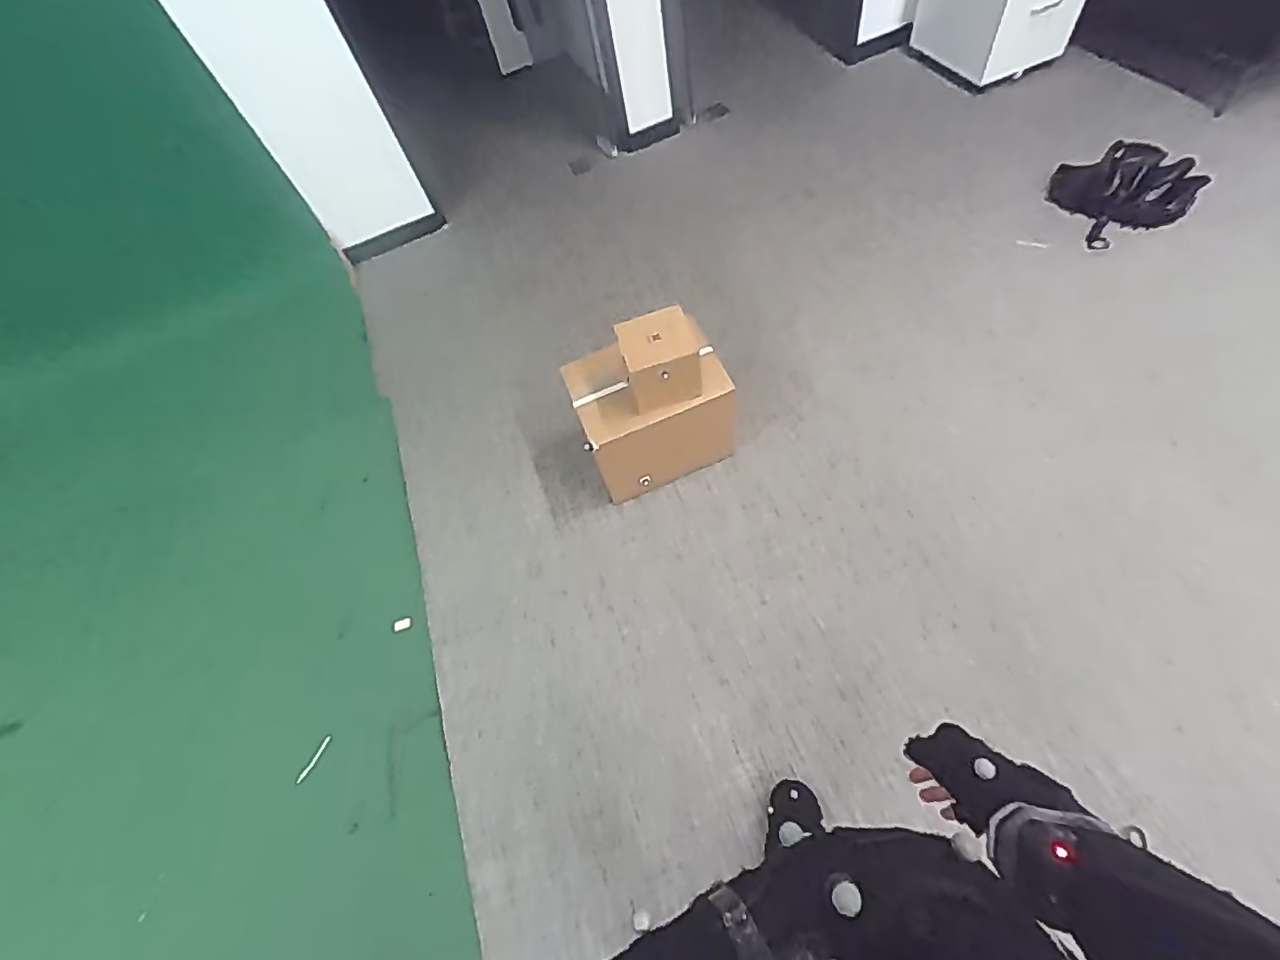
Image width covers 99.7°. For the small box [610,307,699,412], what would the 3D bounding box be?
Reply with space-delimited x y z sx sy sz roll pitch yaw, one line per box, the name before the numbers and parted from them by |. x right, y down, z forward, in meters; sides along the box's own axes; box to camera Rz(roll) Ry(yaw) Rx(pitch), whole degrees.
small box | 0.040 -0.296 1.358 0.179 0.176 0.168 -17 61 -1
